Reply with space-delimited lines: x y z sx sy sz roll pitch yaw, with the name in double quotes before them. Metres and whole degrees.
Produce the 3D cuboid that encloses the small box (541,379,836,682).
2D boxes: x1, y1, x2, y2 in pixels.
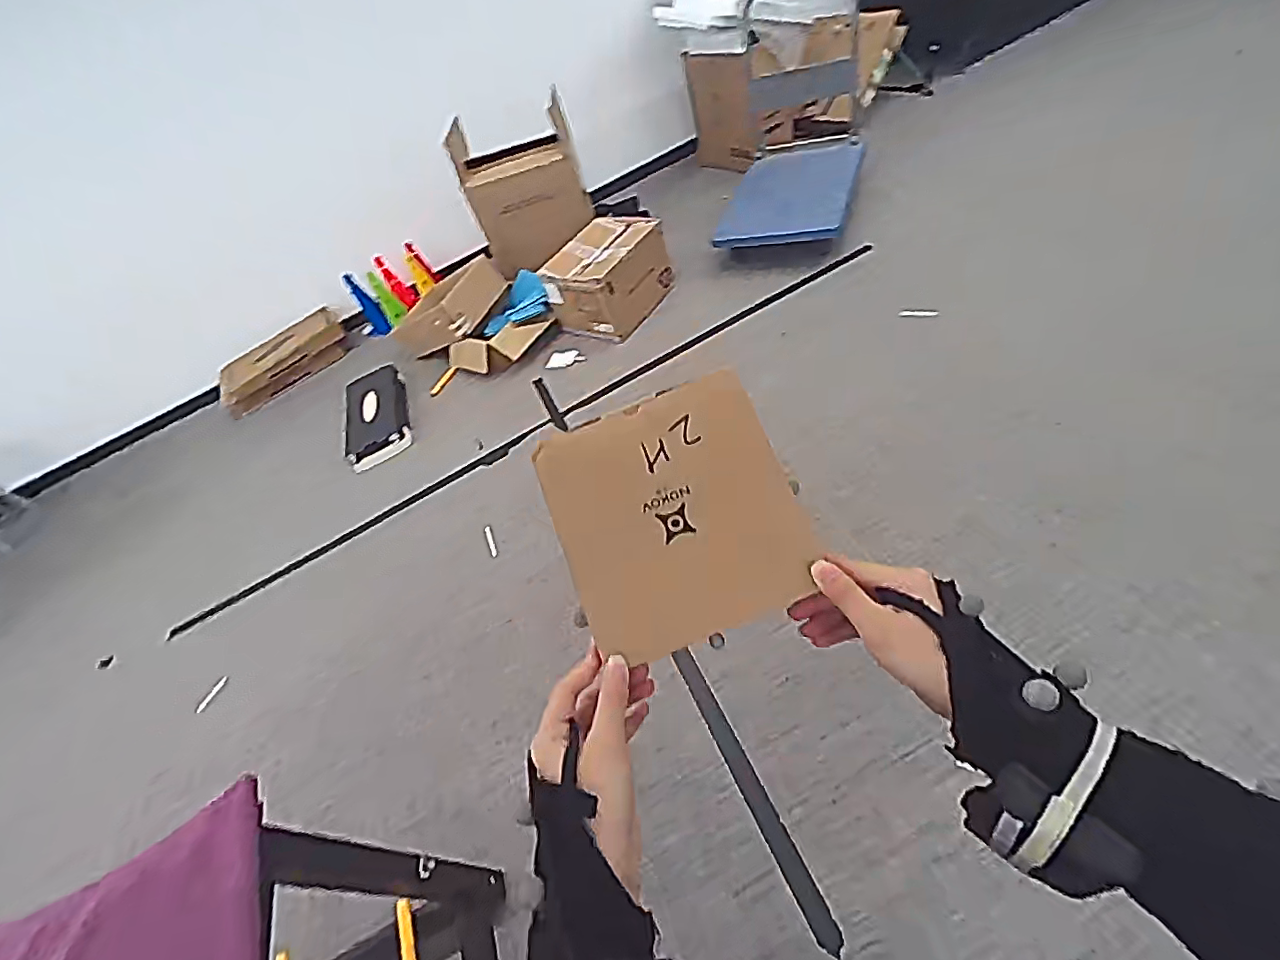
"small box" 0.039 0.048 0.459 0.168 0.176 0.179 -21 75 1
